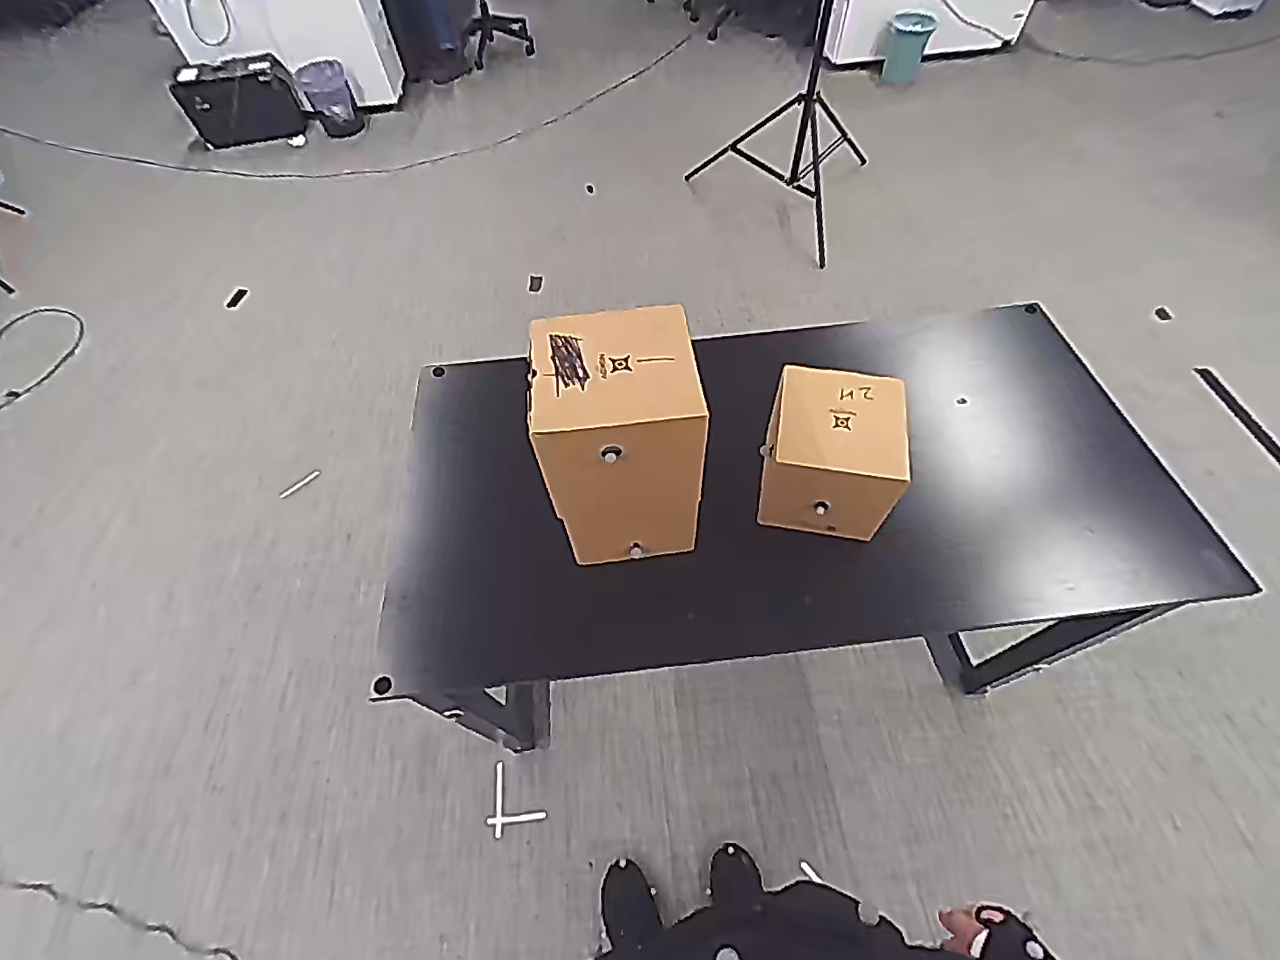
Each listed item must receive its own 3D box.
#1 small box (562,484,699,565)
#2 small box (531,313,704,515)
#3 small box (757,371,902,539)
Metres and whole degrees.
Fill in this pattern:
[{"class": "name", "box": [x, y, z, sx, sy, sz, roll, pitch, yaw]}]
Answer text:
[{"class": "small box", "box": [-0.019, 0.010, 0.787, 0.179, 0.176, 0.168, -7, 57, -3]}, {"class": "small box", "box": [-0.025, -0.071, 0.641, 0.179, 0.176, 0.168, -7, 57, -2]}, {"class": "small box", "box": [0.271, -0.032, 0.798, 0.168, 0.176, 0.179, 9, 57, 8]}]
